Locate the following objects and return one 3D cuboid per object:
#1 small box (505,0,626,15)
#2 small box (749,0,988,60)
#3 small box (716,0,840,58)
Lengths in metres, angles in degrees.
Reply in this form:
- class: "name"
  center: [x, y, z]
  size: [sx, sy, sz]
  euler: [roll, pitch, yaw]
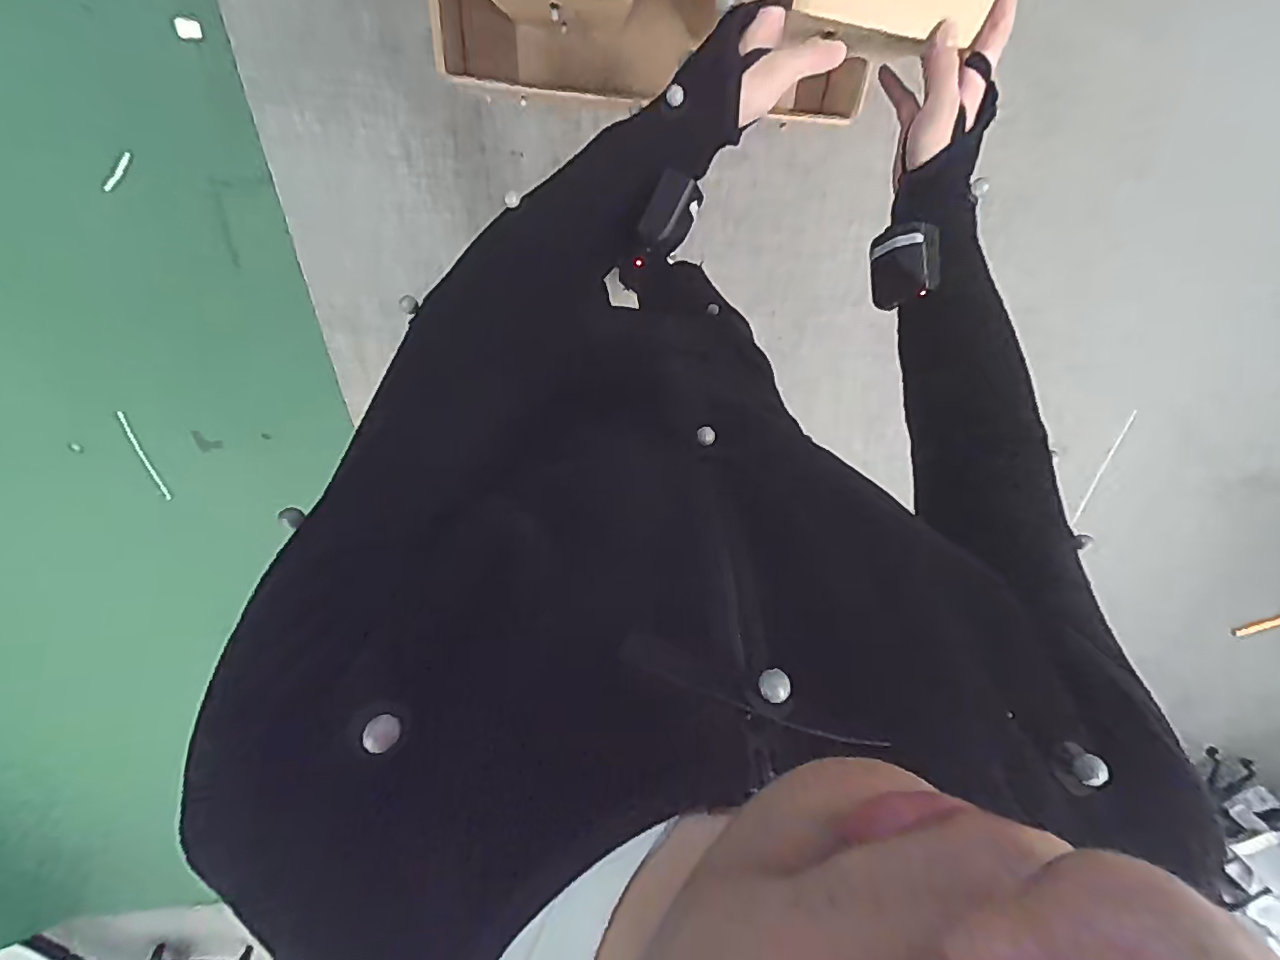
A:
- class: "small box"
  center: [-0.090, -0.627, 0.582]
  size: [0.168, 0.176, 0.179]
  euler: [1, 125, -5]
- class: "small box"
  center: [0.202, -0.481, 0.459]
  size: [0.168, 0.176, 0.179]
  euler: [4, 123, -7]
- class: "small box"
  center: [0.190, -0.607, 0.618]
  size: [0.168, 0.176, 0.179]
  euler: [5, 123, -6]
